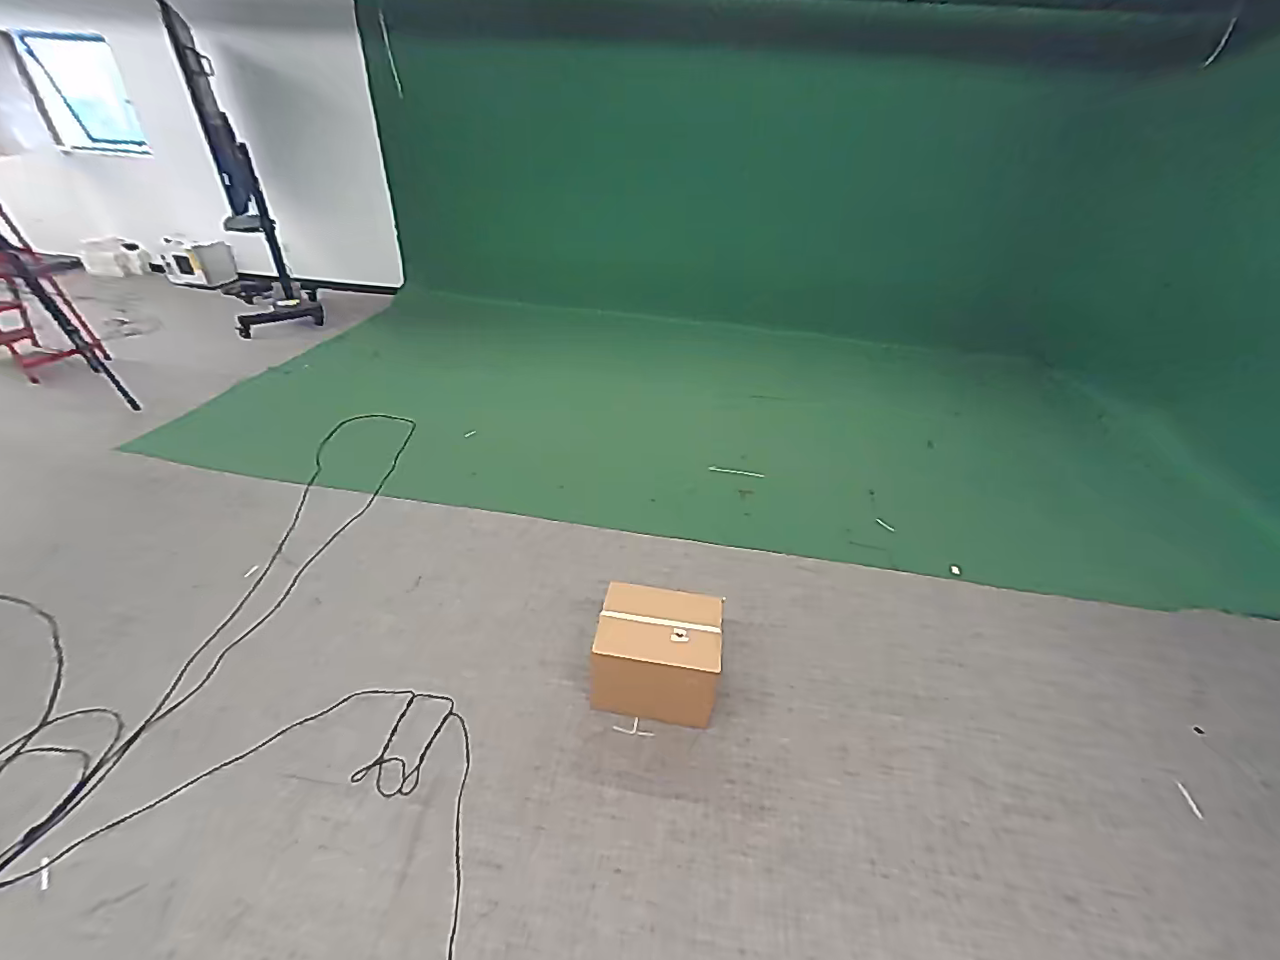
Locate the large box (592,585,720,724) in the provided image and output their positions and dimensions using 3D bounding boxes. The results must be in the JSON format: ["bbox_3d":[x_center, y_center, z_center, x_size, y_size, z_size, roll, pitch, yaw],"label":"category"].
[{"bbox_3d":[0.056,0.602,1.877,0.408,0.320,0.320,7,35,5],"label":"large box"}]
